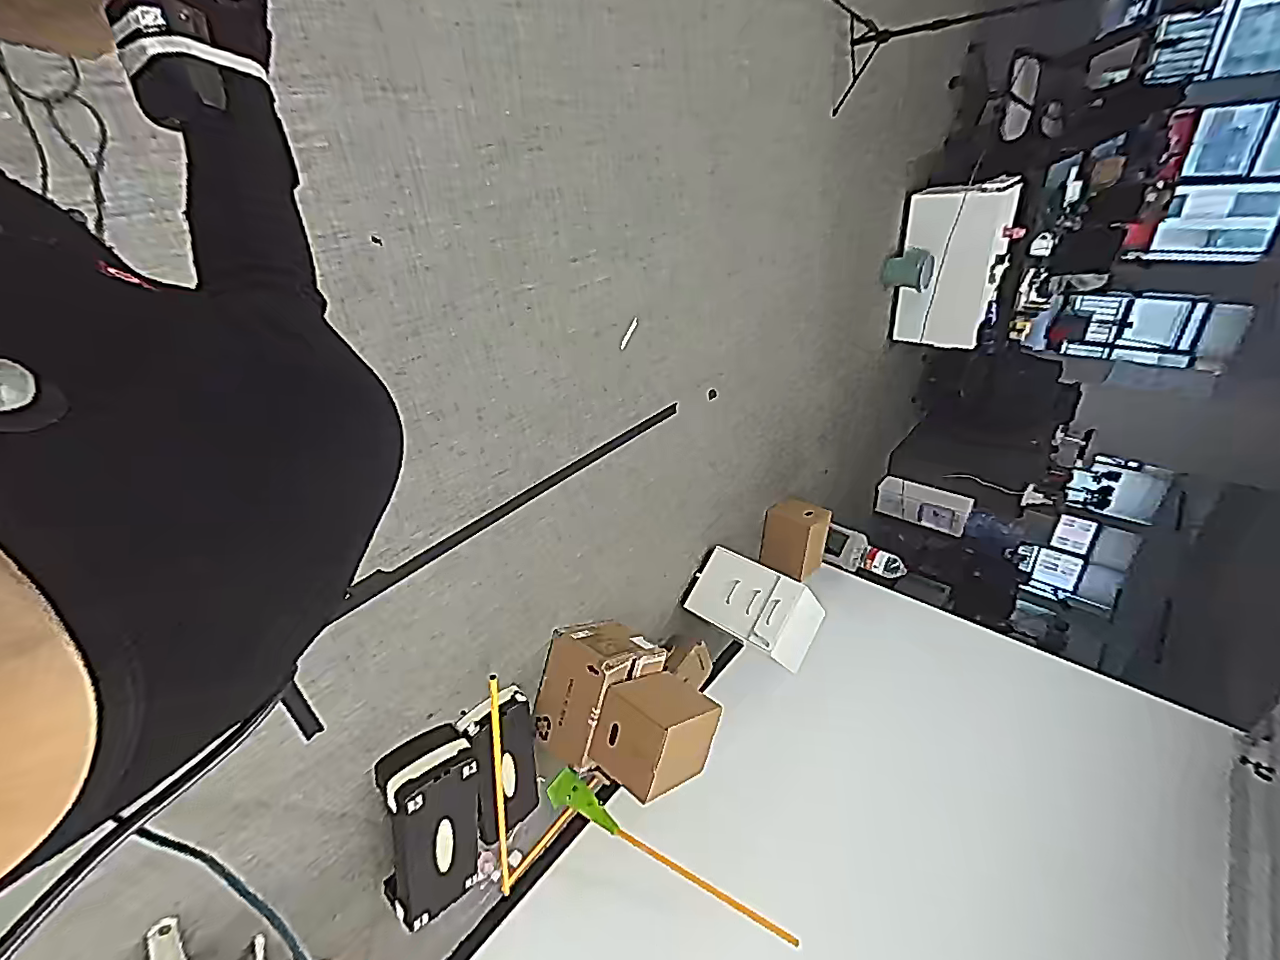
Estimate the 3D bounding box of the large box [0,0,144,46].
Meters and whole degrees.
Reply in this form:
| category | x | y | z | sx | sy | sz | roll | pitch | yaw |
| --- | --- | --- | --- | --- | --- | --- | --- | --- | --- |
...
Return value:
| category | x | y | z | sx | sy | sz | roll | pitch | yaw |
| --- | --- | --- | --- | --- | --- | --- | --- | --- | --- |
| large box | -0.562 | -0.472 | 0.261 | 0.408 | 0.320 | 0.320 | -22 | 127 | -46 |
